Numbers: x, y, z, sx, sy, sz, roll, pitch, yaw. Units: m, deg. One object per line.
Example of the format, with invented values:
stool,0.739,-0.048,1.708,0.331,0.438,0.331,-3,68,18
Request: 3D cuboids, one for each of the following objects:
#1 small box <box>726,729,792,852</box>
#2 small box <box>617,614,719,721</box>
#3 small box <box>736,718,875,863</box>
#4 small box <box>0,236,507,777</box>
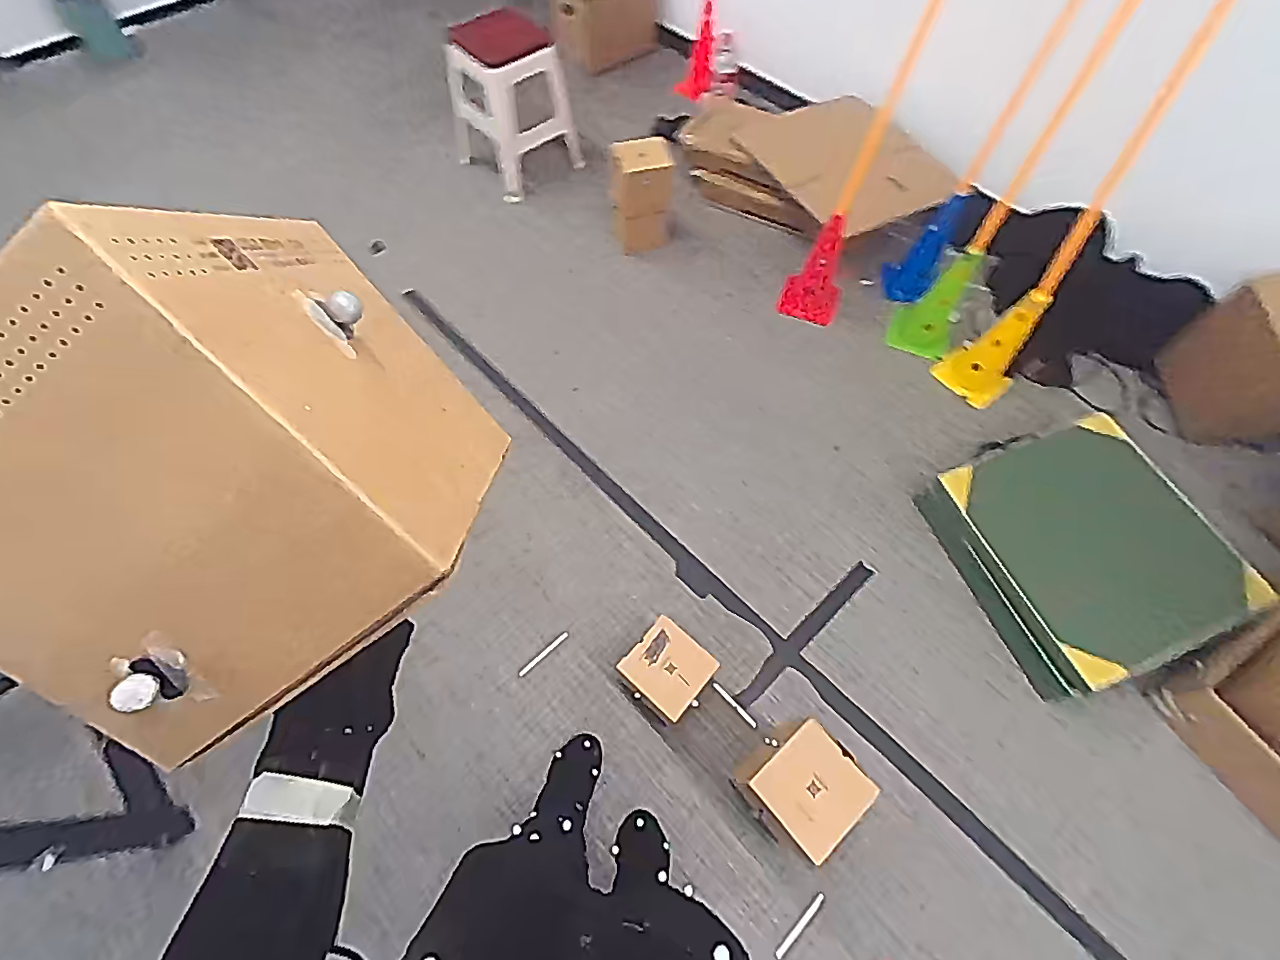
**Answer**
small box,0.314,0.669,1.191,0.168,0.176,0.179,-35,70,-18
small box,0.060,0.456,1.296,0.179,0.176,0.168,40,69,17
small box,0.308,0.590,1.049,0.179,0.176,0.168,-36,68,-17
small box,-0.201,0.003,0.282,0.179,0.176,0.168,-36,22,10
